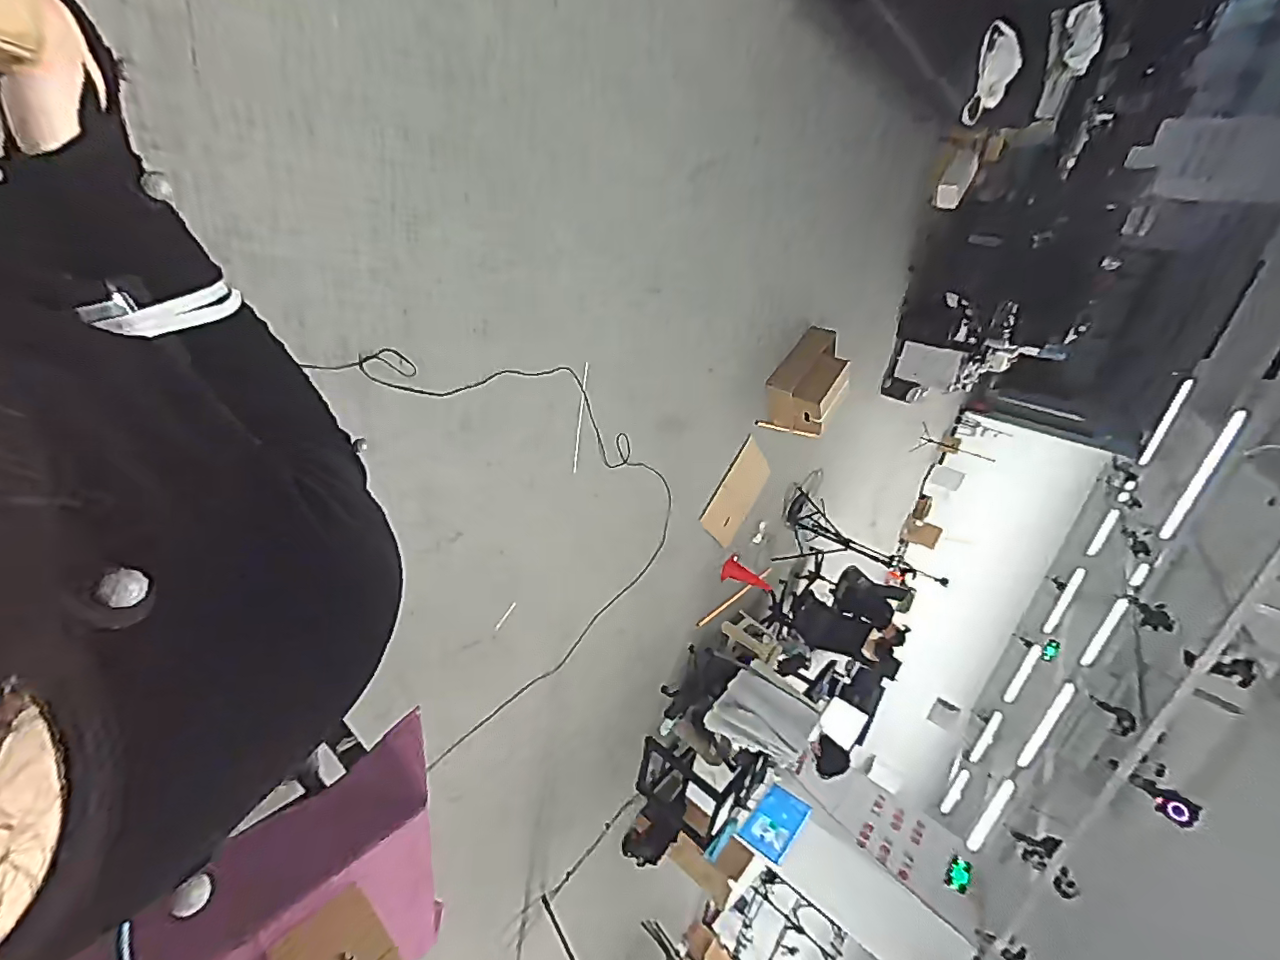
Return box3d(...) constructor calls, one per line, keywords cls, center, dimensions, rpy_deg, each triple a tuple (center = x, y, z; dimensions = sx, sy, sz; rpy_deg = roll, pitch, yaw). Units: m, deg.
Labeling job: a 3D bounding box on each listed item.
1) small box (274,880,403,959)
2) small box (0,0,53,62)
box3d(cls="small box", center=(-0.608, 0.978, 1.098), dimensions=(0.179, 0.176, 0.168), rpy_deg=(-18, 126, -48))
box3d(cls="small box", center=(-0.335, -0.277, 0.181), dimensions=(0.168, 0.176, 0.179), rpy_deg=(-7, 115, -58))
